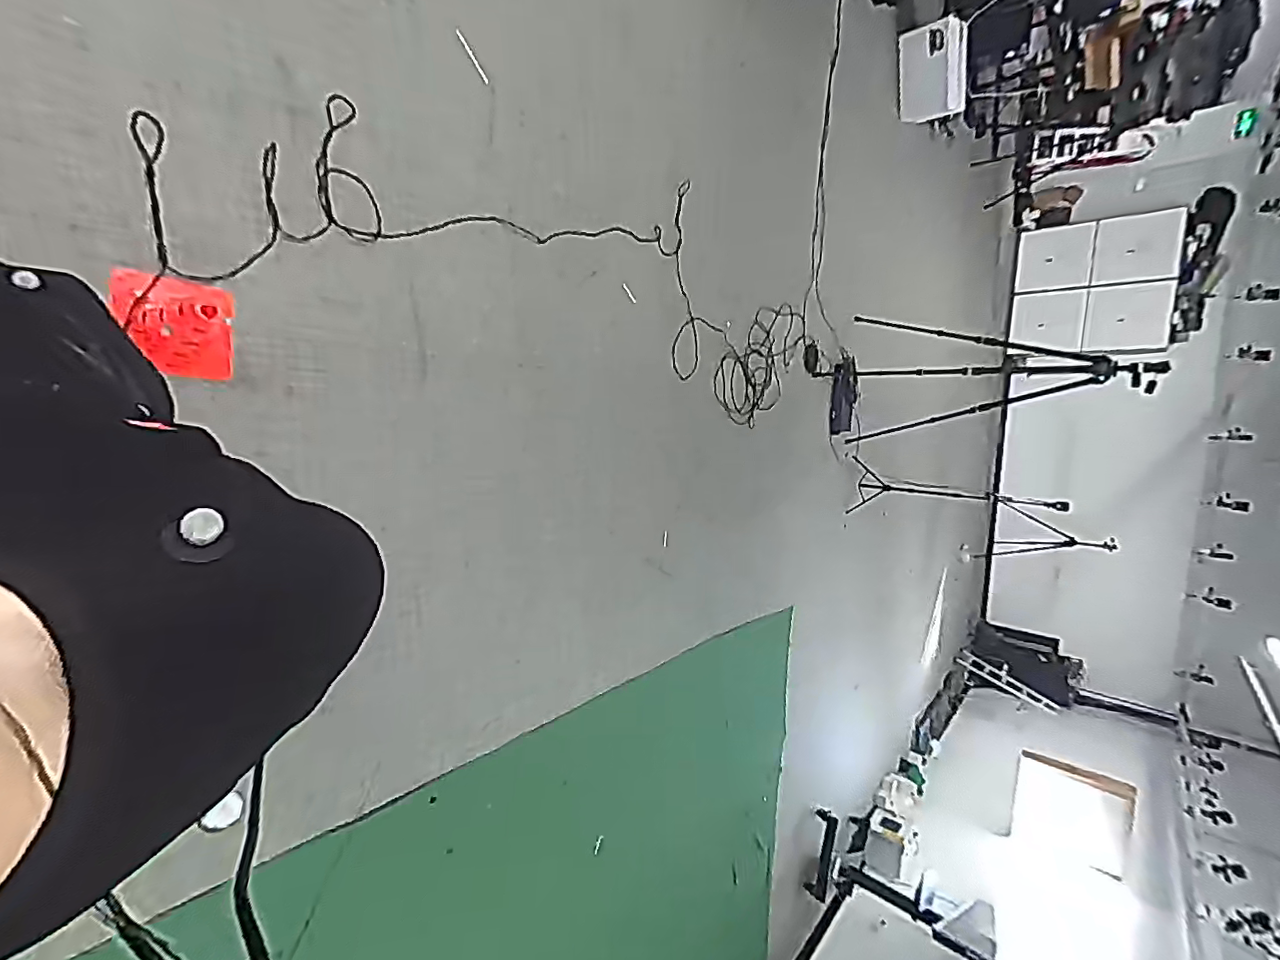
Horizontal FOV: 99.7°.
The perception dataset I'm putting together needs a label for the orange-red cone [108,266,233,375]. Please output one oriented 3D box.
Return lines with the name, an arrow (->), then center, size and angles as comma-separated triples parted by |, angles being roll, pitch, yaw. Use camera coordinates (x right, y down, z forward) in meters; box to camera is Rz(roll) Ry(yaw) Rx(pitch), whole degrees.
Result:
orange-red cone -> -0.863, -0.311, 1.032 | 0.198, 0.360, 0.199 | 2, 96, -48
